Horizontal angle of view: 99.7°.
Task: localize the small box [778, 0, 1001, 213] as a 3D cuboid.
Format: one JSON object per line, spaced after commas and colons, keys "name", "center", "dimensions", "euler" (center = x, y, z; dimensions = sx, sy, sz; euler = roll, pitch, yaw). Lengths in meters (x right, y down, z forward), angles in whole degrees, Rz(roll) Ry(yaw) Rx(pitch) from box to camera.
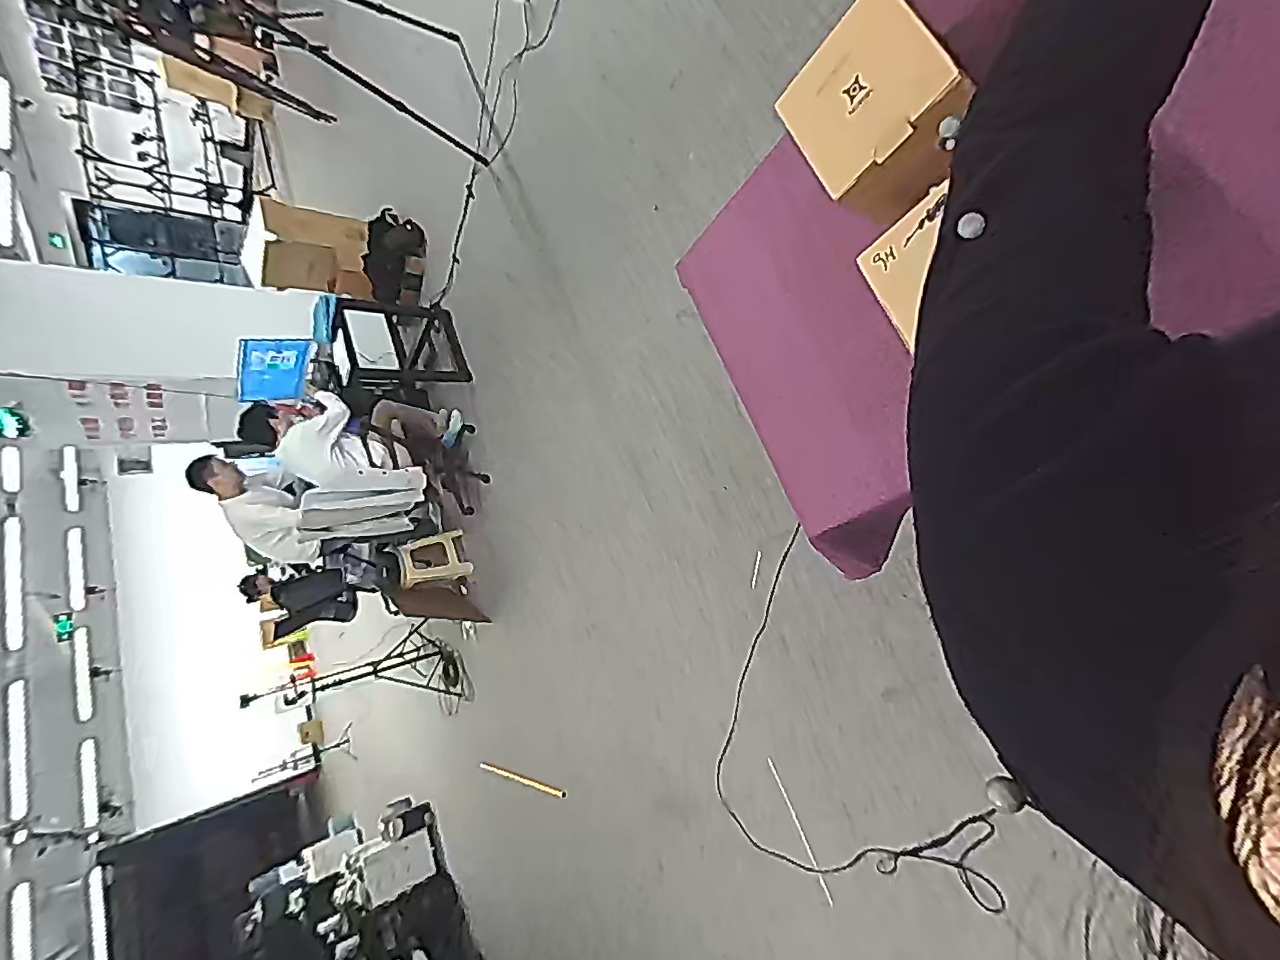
{"name": "small box", "center": [0.319, -0.472, 0.691], "dimensions": [0.168, 0.176, 0.179], "euler": [-38, 68, 44]}
